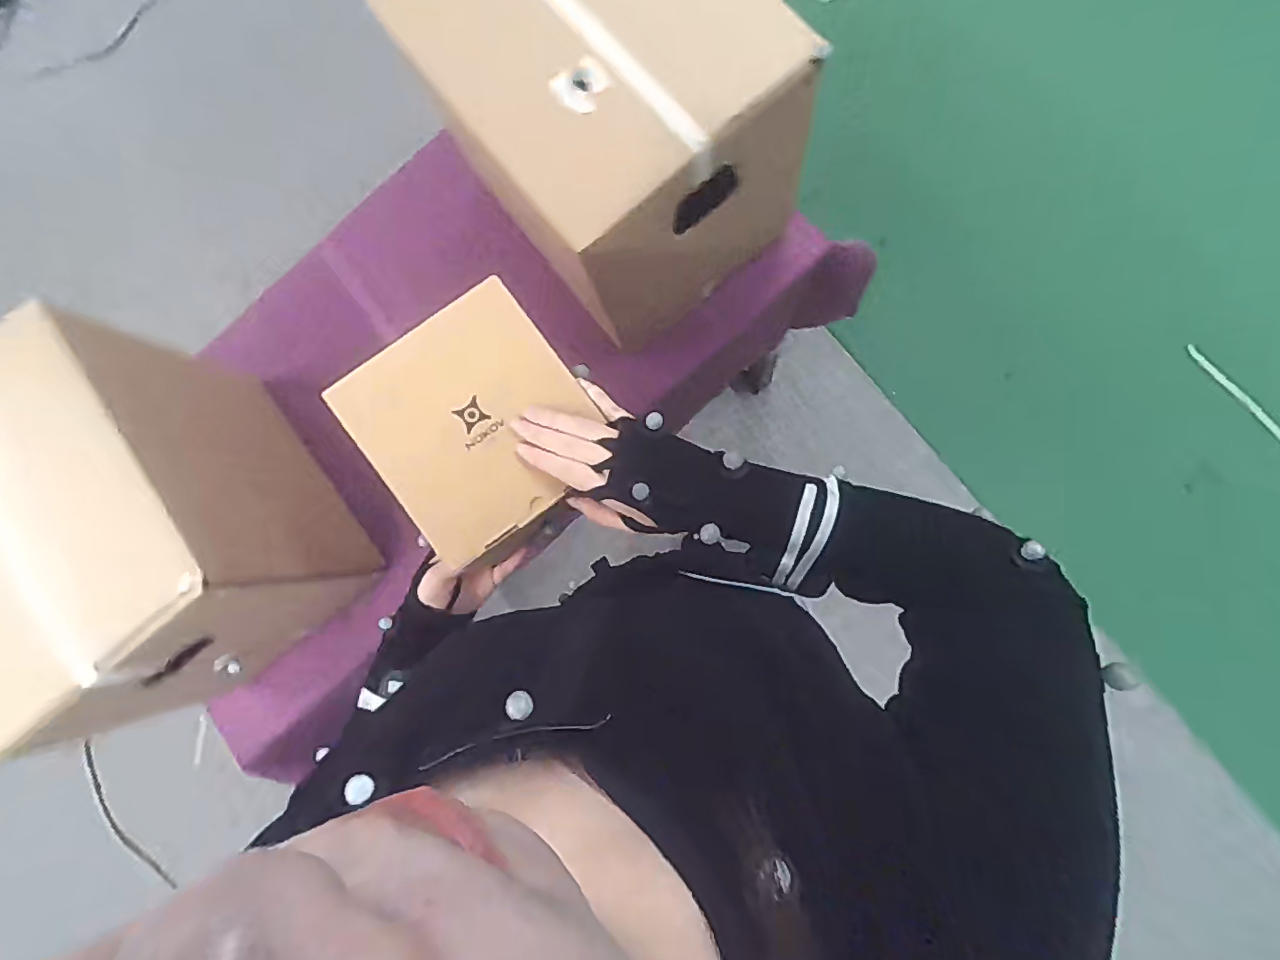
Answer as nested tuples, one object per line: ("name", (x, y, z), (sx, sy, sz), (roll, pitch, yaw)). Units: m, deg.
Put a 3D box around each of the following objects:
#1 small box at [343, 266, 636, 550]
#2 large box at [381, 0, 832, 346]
("small box", (-0.123, -0.051, 0.502), (0.168, 0.176, 0.179), (-36, 89, -6))
("large box", (-0.035, -0.462, 0.710), (0.320, 0.320, 0.408), (-38, 82, 2))
